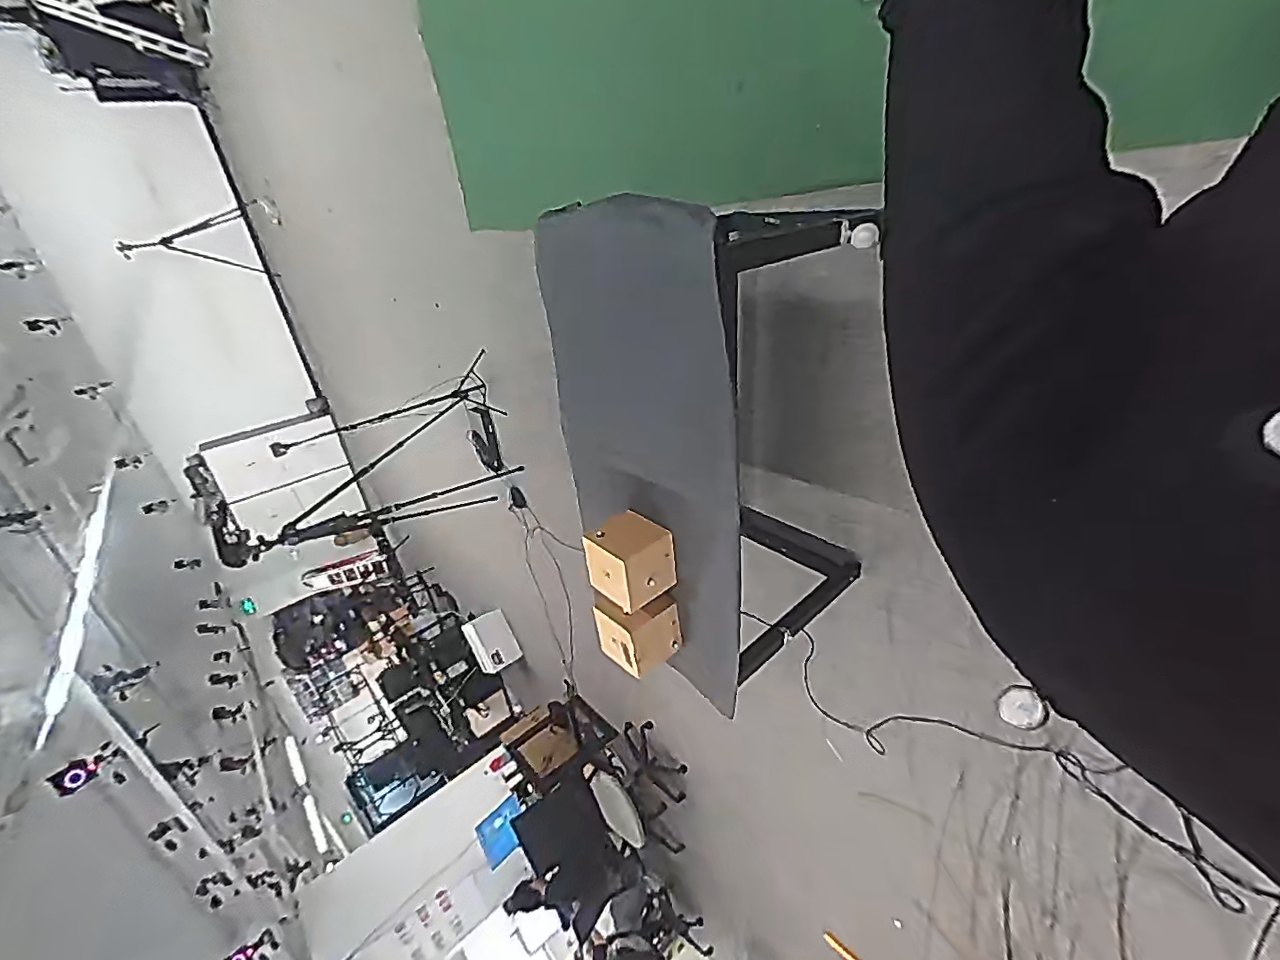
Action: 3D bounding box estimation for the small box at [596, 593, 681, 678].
[{"bbox_3d":[0.004,0.415,1.534,0.179,0.176,0.168,21,128,47],"label":"small box"}]

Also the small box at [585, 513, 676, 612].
[{"bbox_3d":[-0.017,0.207,1.422,0.179,0.176,0.168,24,131,45],"label":"small box"}]
